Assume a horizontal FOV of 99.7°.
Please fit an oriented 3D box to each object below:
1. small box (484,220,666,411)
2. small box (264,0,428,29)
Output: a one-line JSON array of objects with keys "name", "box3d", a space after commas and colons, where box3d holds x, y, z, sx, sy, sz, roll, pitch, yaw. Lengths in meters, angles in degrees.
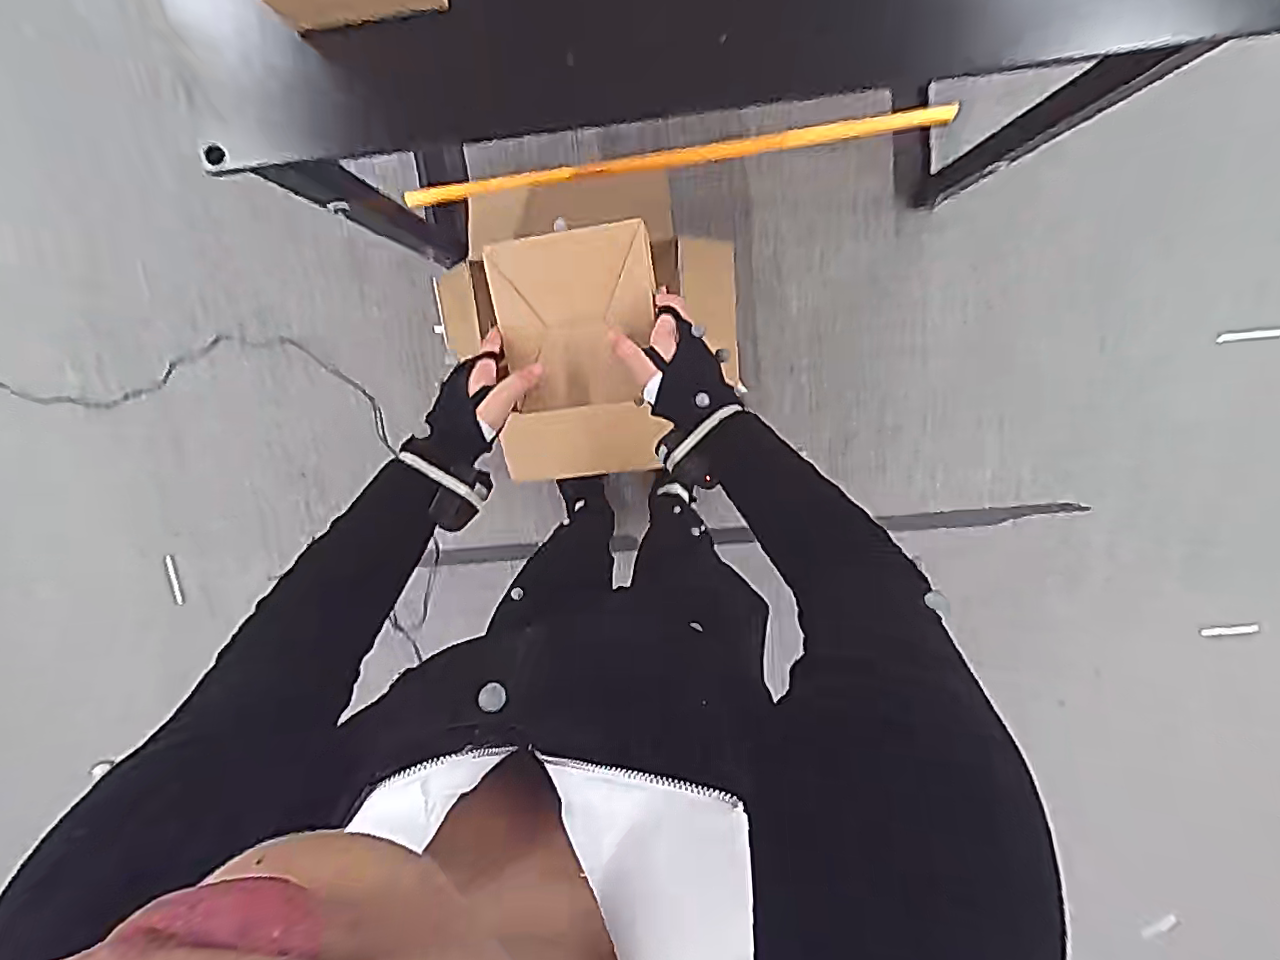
[{"name": "small box", "box3d": [-0.064, -0.188, 0.629, 0.168, 0.176, 0.179, -8, 111, 6]}, {"name": "small box", "box3d": [-0.304, -0.563, 0.495, 0.179, 0.176, 0.168, -7, 101, 1]}]
